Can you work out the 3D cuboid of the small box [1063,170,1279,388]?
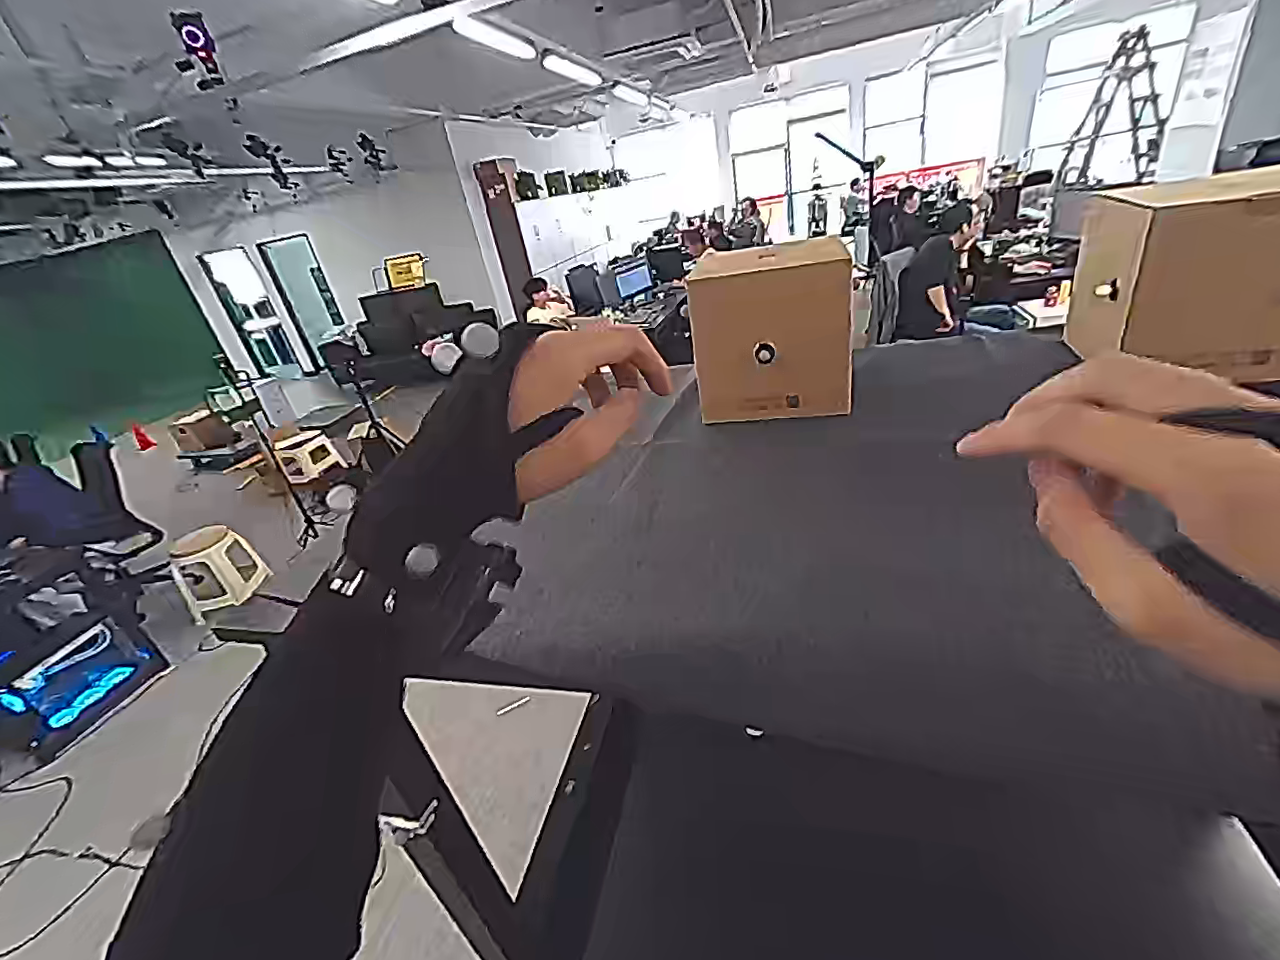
[{"bbox_3d":[0.555,-0.195,0.536,0.168,0.176,0.179,2,30,21],"label":"small box"}]

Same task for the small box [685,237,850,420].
[{"bbox_3d":[0.158,-0.177,0.646,0.168,0.176,0.179,-2,29,16],"label":"small box"}]
